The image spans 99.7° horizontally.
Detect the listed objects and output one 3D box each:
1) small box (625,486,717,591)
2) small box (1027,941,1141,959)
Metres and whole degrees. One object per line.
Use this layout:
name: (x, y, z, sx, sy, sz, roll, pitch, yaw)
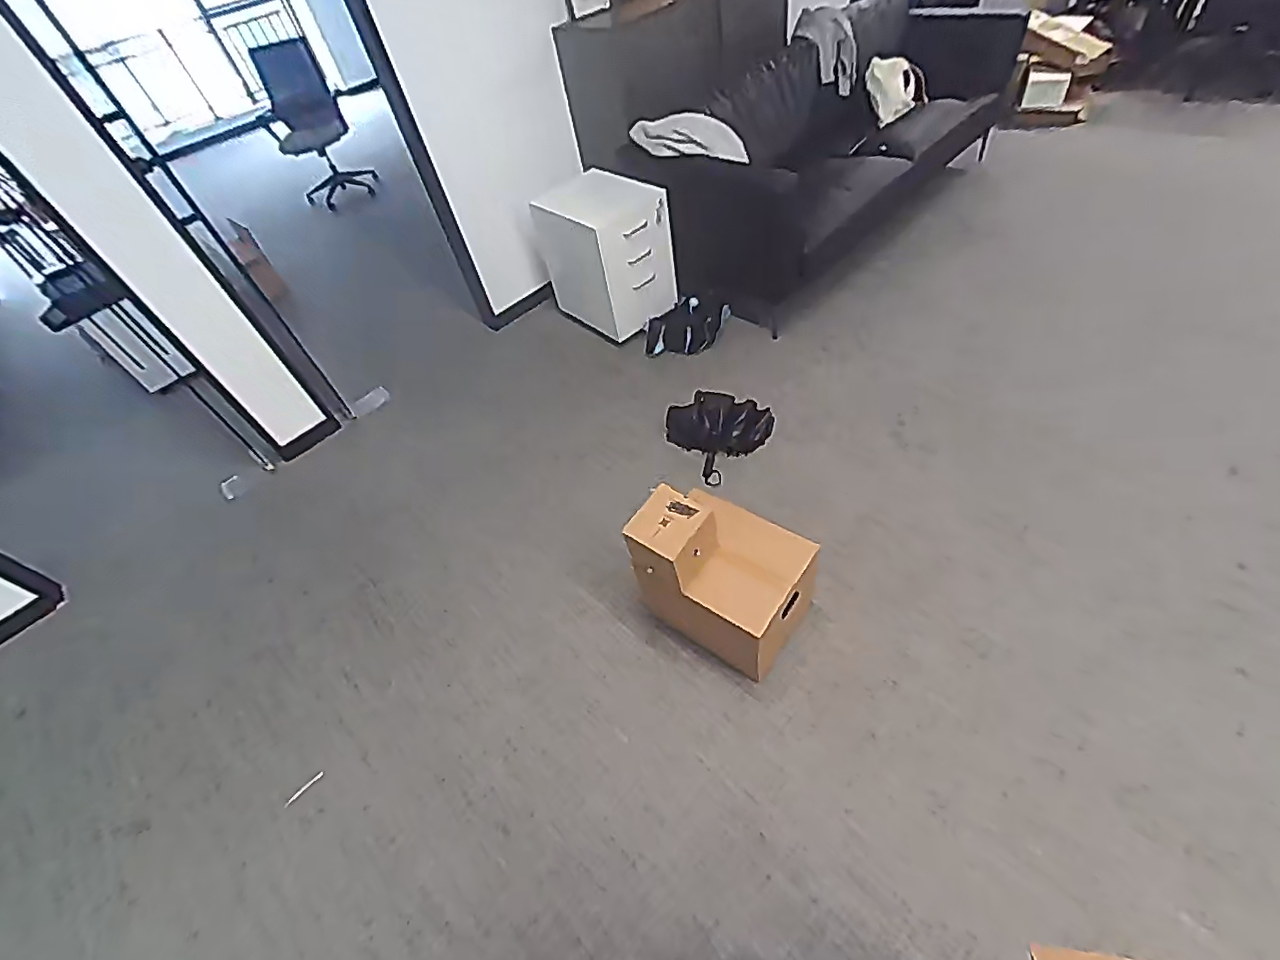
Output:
small box: (0.088, 0.153, 1.409, 0.168, 0.176, 0.179, 27, 64, 31)
small box: (0.546, 0.667, 0.583, 0.168, 0.176, 0.179, -8, 6, 23)
